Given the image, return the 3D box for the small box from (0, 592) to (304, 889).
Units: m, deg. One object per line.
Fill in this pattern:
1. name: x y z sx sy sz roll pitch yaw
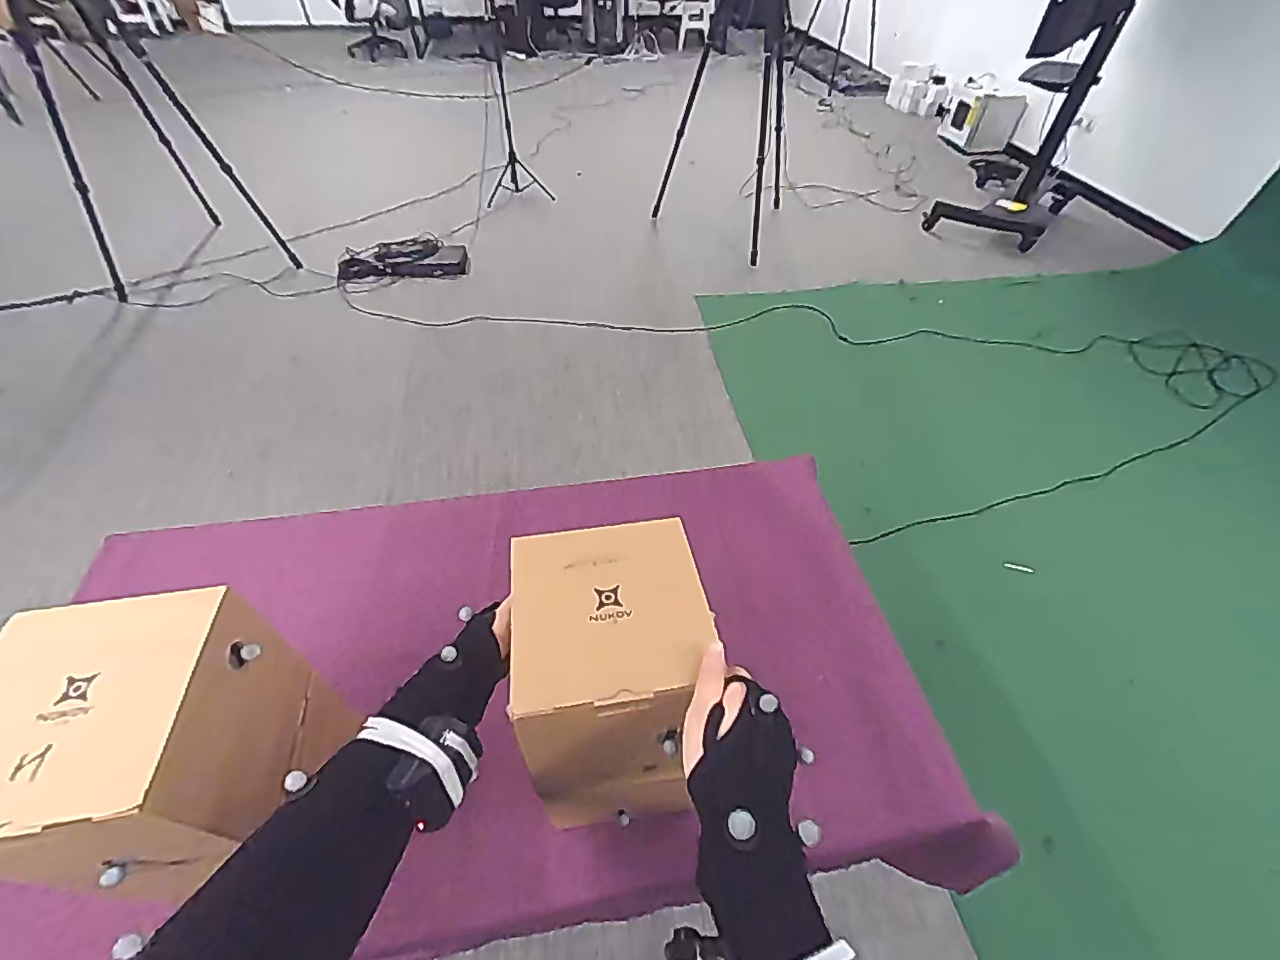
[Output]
1. small box: -0.421 0.222 0.463 0.168 0.176 0.179 -7 49 -7

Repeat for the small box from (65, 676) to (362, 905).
1. small box: -0.424 0.335 0.584 0.179 0.176 0.168 -7 49 -9
